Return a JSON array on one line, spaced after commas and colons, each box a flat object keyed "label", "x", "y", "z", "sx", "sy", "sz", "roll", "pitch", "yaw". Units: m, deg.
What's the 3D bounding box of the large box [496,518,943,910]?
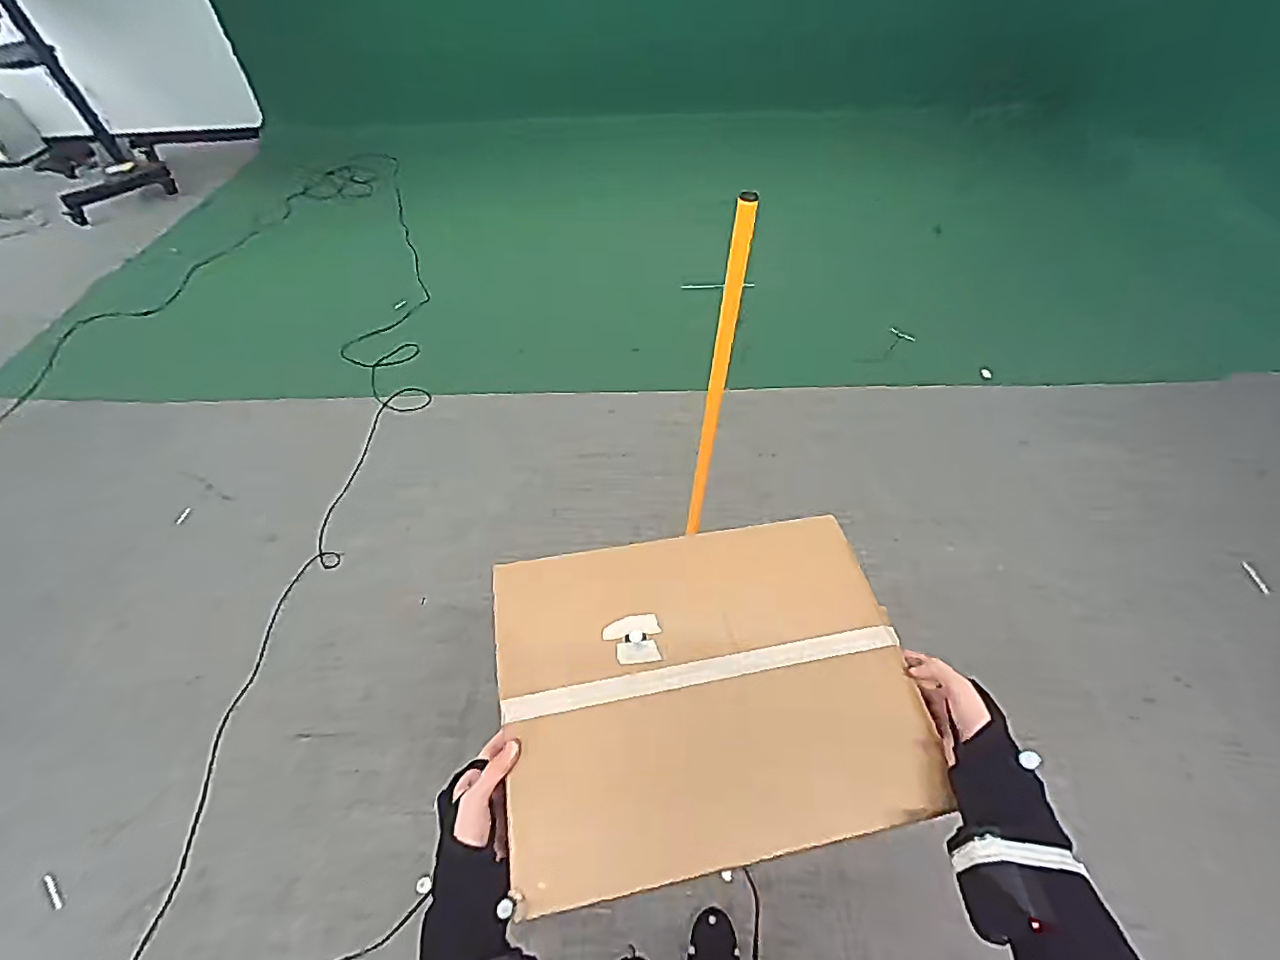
[{"label": "large box", "x": 0.058, "y": 0.282, "z": 0.677, "sx": 0.408, "sy": 0.320, "sz": 0.320, "roll": -8, "pitch": 56, "yaw": -8}]
